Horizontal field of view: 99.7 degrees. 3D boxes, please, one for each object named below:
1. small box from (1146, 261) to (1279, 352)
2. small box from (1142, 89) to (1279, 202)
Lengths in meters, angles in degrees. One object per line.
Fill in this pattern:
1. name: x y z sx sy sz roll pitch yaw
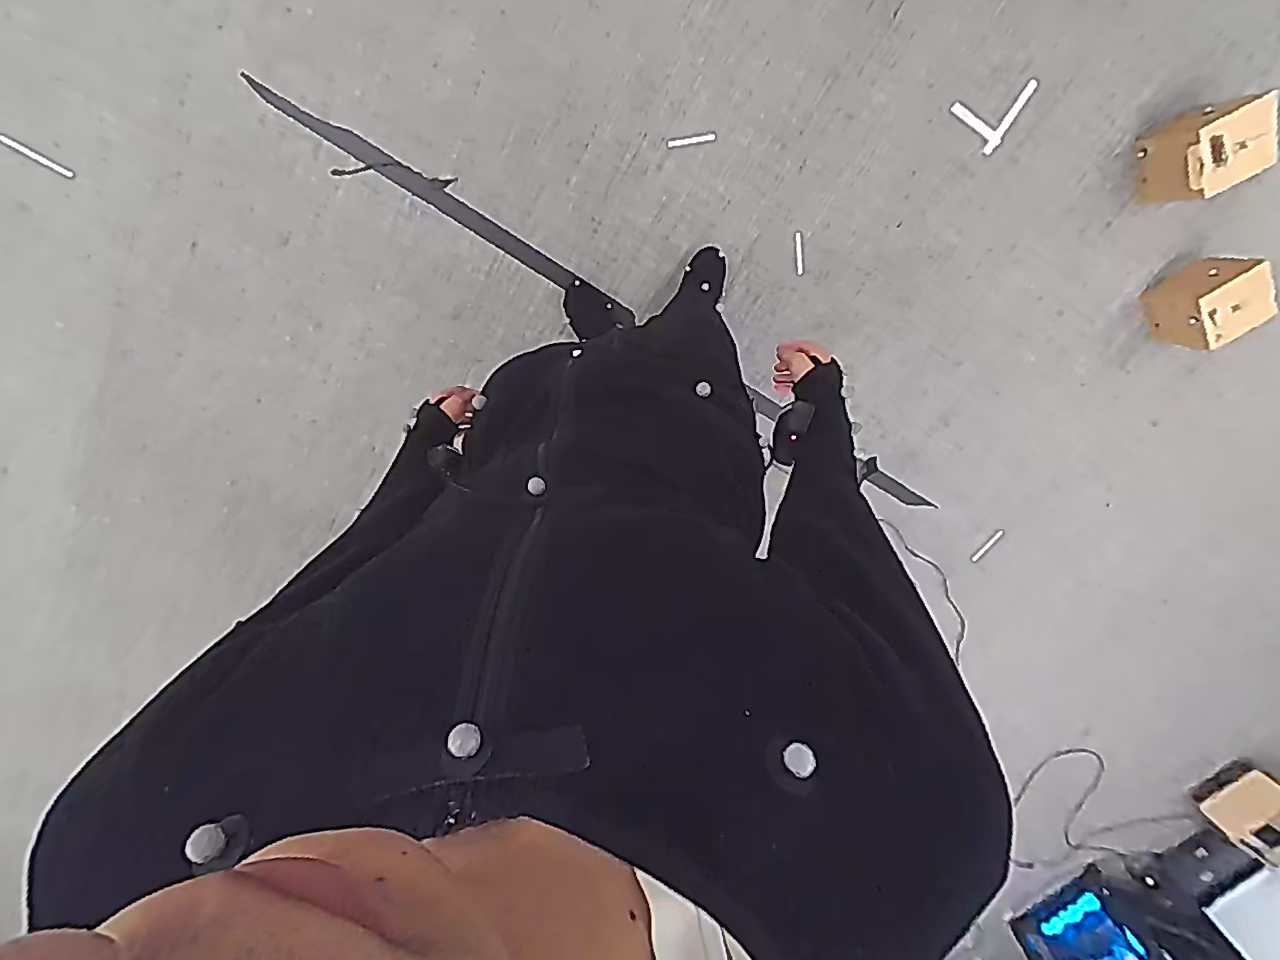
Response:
1. small box: 1.553 -0.480 1.472 0.179 0.176 0.168 -33 111 10
2. small box: 1.380 -0.802 1.319 0.179 0.176 0.168 -26 113 9
